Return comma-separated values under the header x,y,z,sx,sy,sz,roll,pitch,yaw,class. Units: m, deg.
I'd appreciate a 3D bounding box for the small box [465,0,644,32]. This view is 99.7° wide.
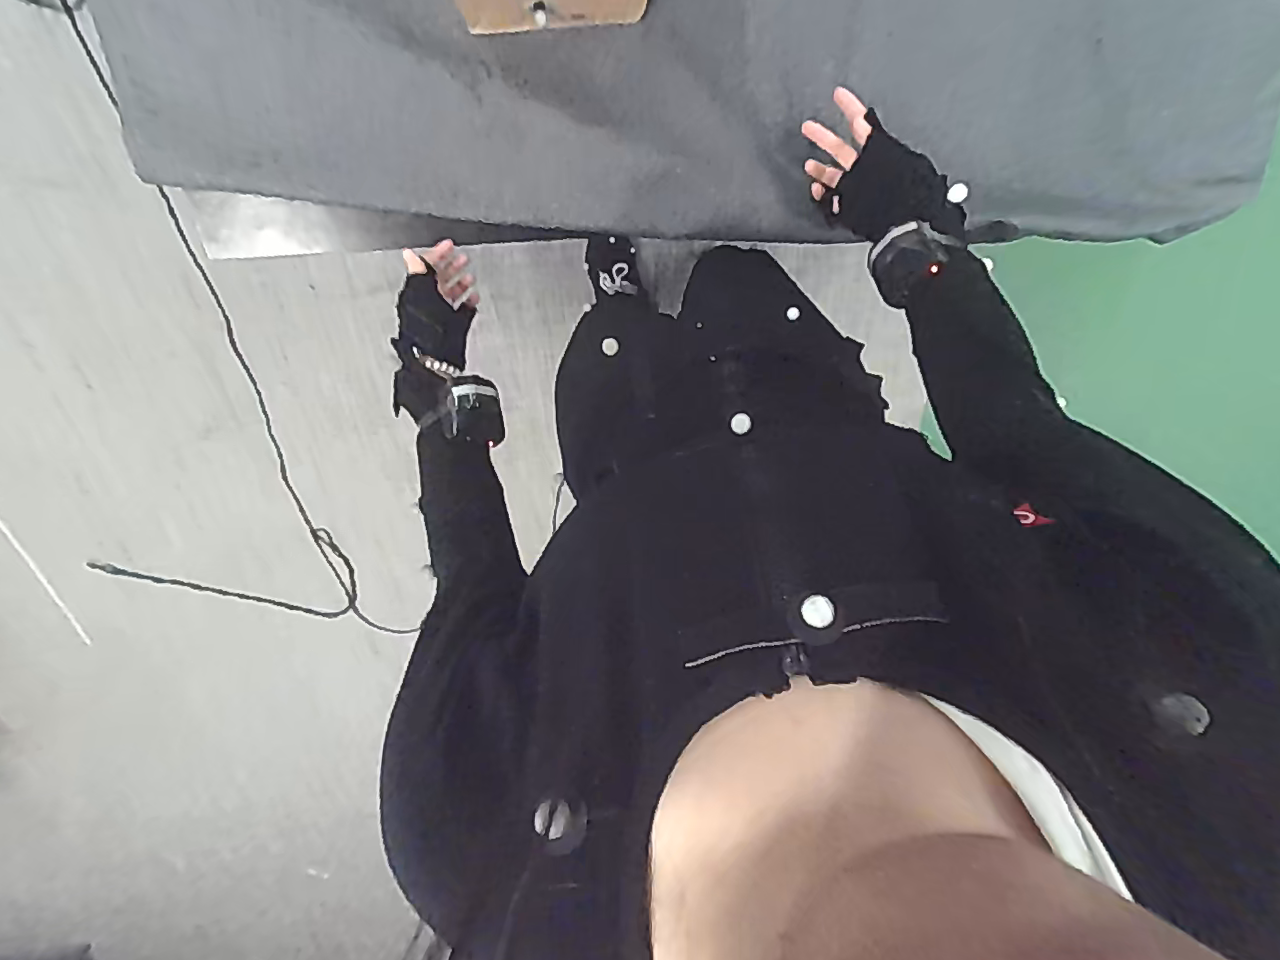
x,y,z,sx,sy,sz,roll,pitch,yaw,class
-0.077,-0.482,0.416,0.168,0.176,0.179,-8,118,-5,small box
